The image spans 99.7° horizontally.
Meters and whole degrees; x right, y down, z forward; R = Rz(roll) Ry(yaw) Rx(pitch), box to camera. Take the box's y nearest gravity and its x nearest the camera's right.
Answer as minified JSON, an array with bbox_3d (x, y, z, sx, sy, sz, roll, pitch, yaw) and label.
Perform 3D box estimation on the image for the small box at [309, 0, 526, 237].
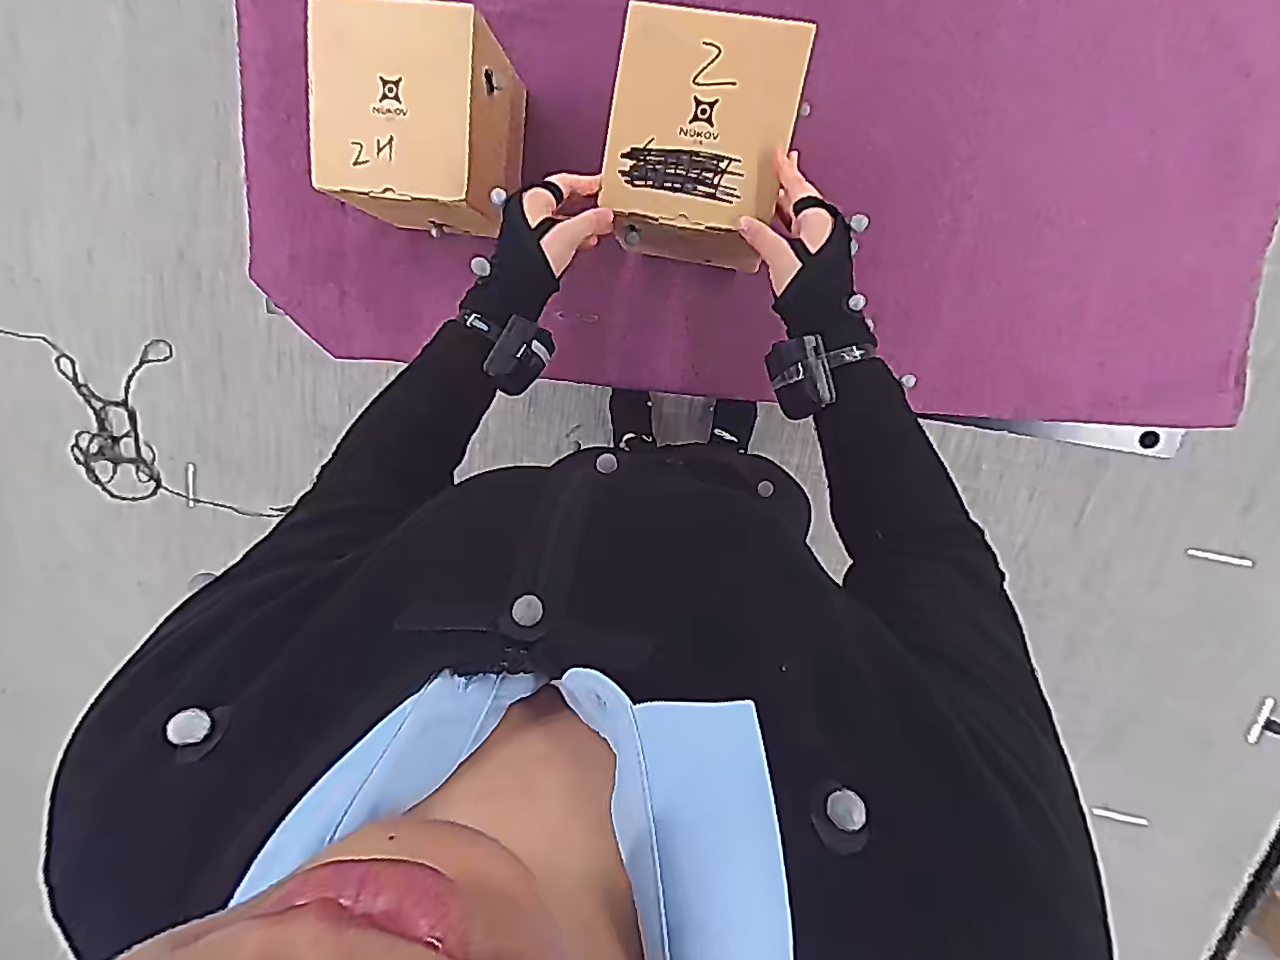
[{"bbox_3d":[-0.231,-0.387,0.597,0.168,0.176,0.179,8,103,4],"label":"small box"}]
